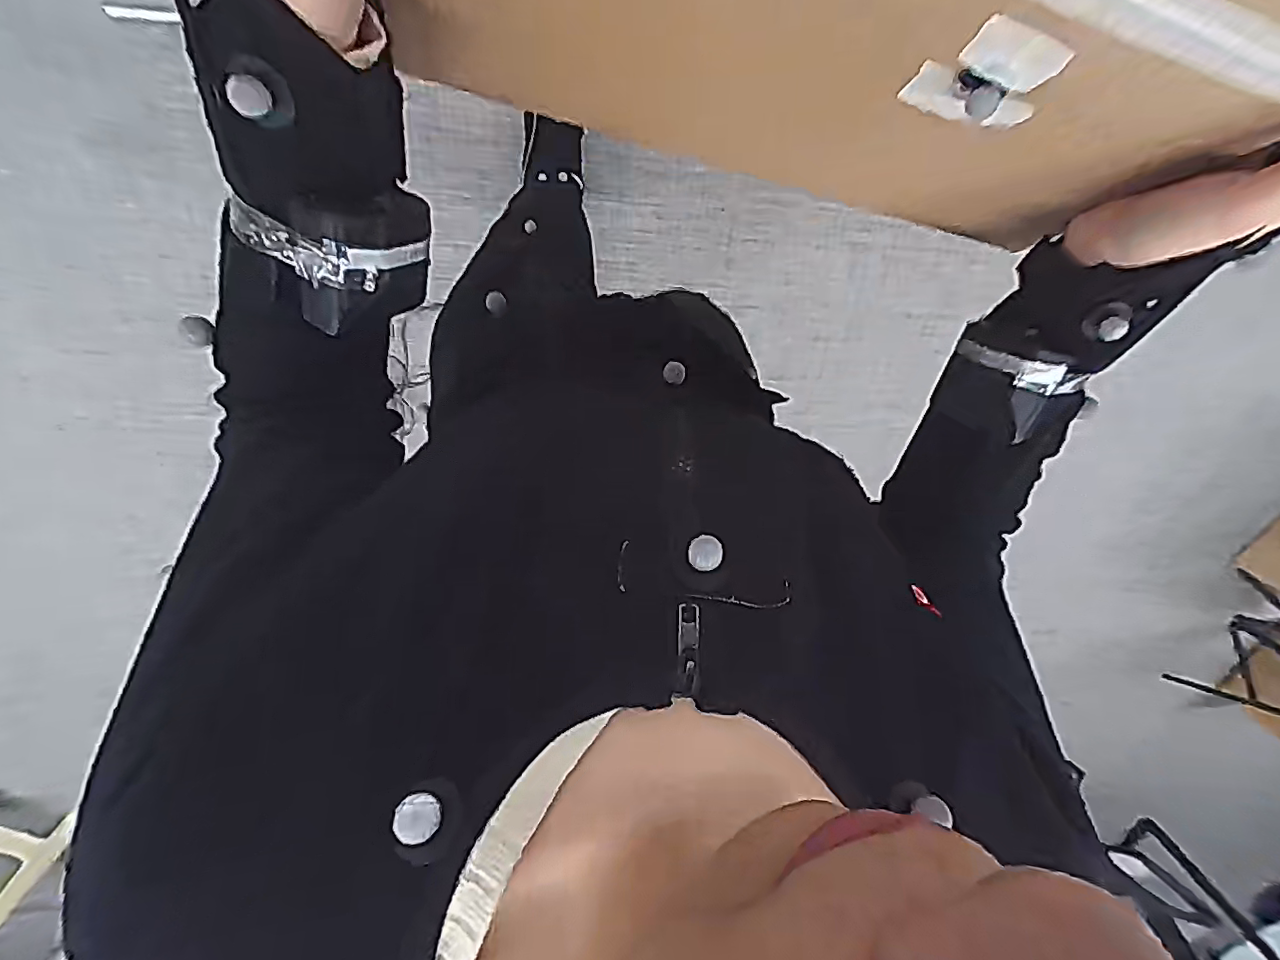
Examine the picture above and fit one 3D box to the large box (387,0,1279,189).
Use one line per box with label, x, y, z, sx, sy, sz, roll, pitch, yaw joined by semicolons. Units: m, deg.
large box;0.115;-0.345;0.141;0.408;0.320;0.320;7;90;-13
